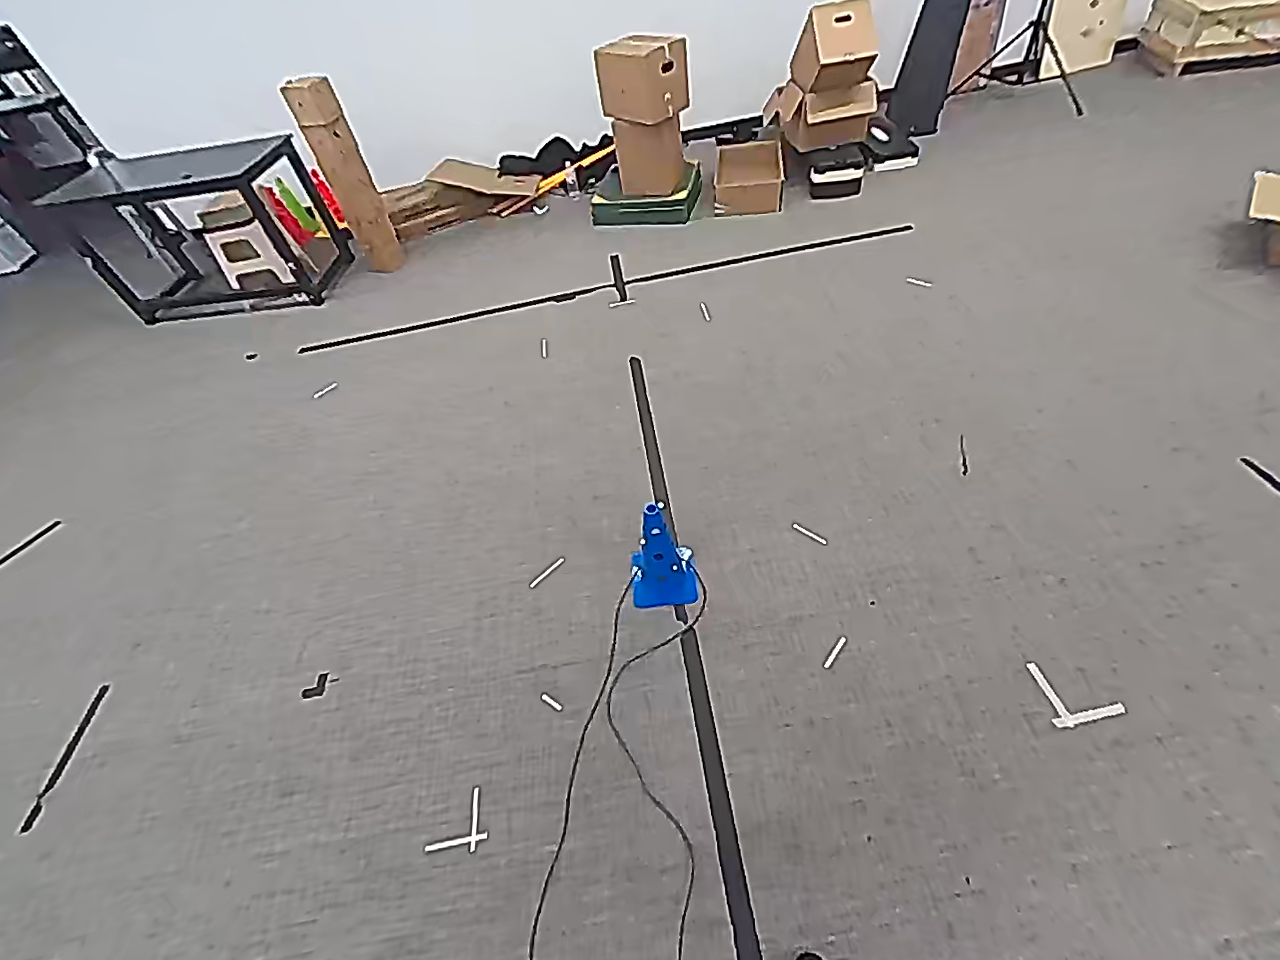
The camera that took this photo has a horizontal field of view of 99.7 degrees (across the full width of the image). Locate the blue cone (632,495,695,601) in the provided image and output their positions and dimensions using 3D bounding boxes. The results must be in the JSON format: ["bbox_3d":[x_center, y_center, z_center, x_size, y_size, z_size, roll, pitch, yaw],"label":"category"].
[{"bbox_3d":[0.050,0.180,1.559,0.193,0.380,0.192,-9,49,3],"label":"blue cone"}]
